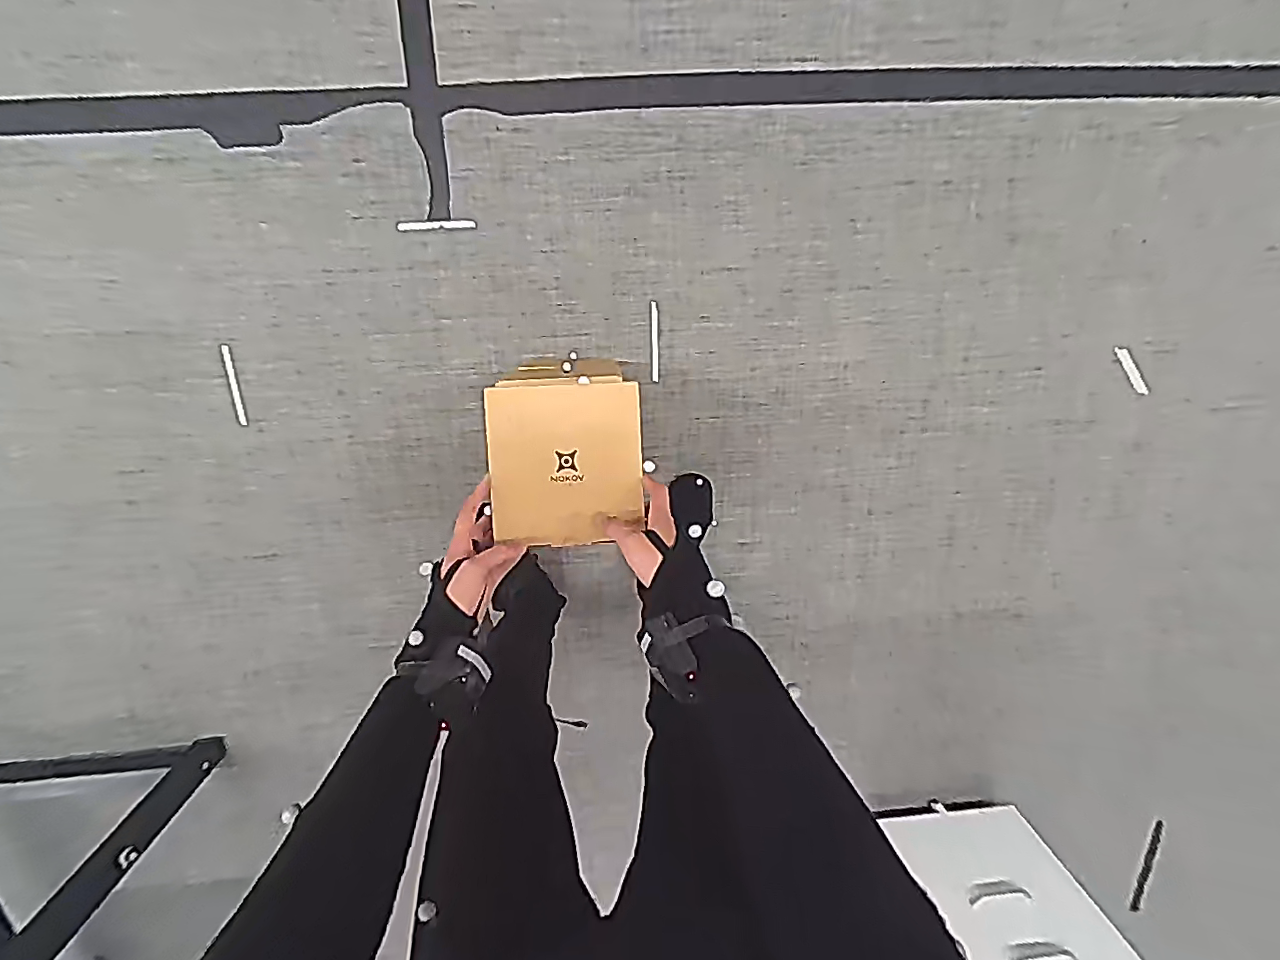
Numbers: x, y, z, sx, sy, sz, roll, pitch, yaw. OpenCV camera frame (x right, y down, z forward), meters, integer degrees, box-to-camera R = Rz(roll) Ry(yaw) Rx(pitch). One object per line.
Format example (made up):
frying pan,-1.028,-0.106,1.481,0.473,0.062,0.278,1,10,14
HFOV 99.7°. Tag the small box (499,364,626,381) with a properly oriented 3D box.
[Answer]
small box,-0.109,-0.087,0.835,0.179,0.176,0.168,-3,107,-4

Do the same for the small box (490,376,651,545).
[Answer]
small box,-0.080,-0.027,0.654,0.168,0.176,0.179,-3,95,-4
